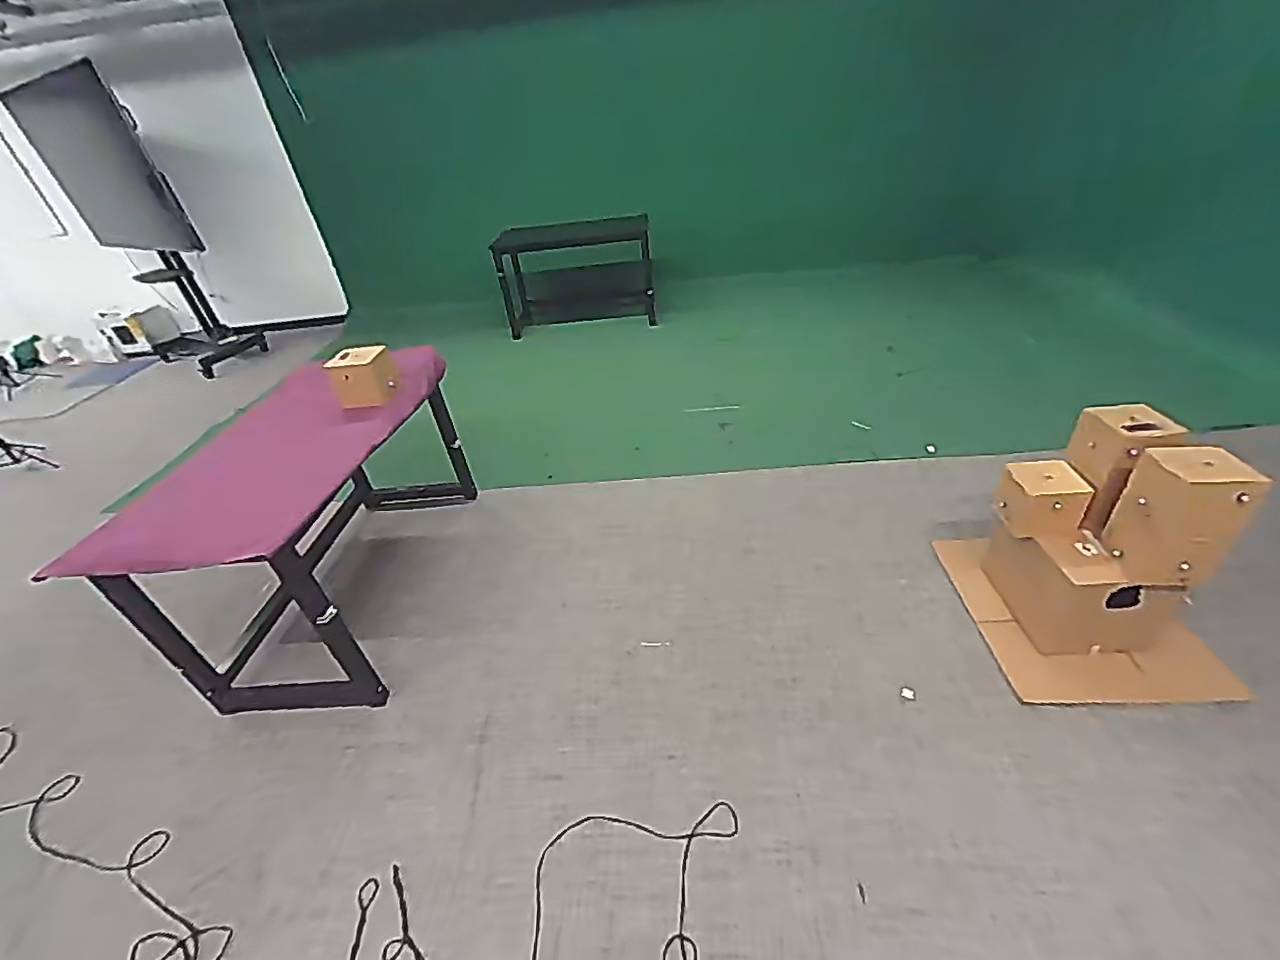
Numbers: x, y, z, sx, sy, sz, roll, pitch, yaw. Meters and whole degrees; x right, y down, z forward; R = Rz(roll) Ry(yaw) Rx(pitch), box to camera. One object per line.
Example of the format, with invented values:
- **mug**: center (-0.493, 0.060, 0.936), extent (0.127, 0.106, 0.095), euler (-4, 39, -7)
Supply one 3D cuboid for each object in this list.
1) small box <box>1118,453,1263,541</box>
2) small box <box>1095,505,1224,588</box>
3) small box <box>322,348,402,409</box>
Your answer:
- **small box**: center (1.394, 0.045, 1.387), extent (0.179, 0.176, 0.168), euler (-1, 33, 8)
- **small box**: center (1.409, 0.182, 1.481), extent (0.168, 0.176, 0.179), euler (-2, 33, 8)
- **small box**: center (-1.015, -0.370, 1.990), extent (0.179, 0.176, 0.168), euler (-4, 35, 5)
